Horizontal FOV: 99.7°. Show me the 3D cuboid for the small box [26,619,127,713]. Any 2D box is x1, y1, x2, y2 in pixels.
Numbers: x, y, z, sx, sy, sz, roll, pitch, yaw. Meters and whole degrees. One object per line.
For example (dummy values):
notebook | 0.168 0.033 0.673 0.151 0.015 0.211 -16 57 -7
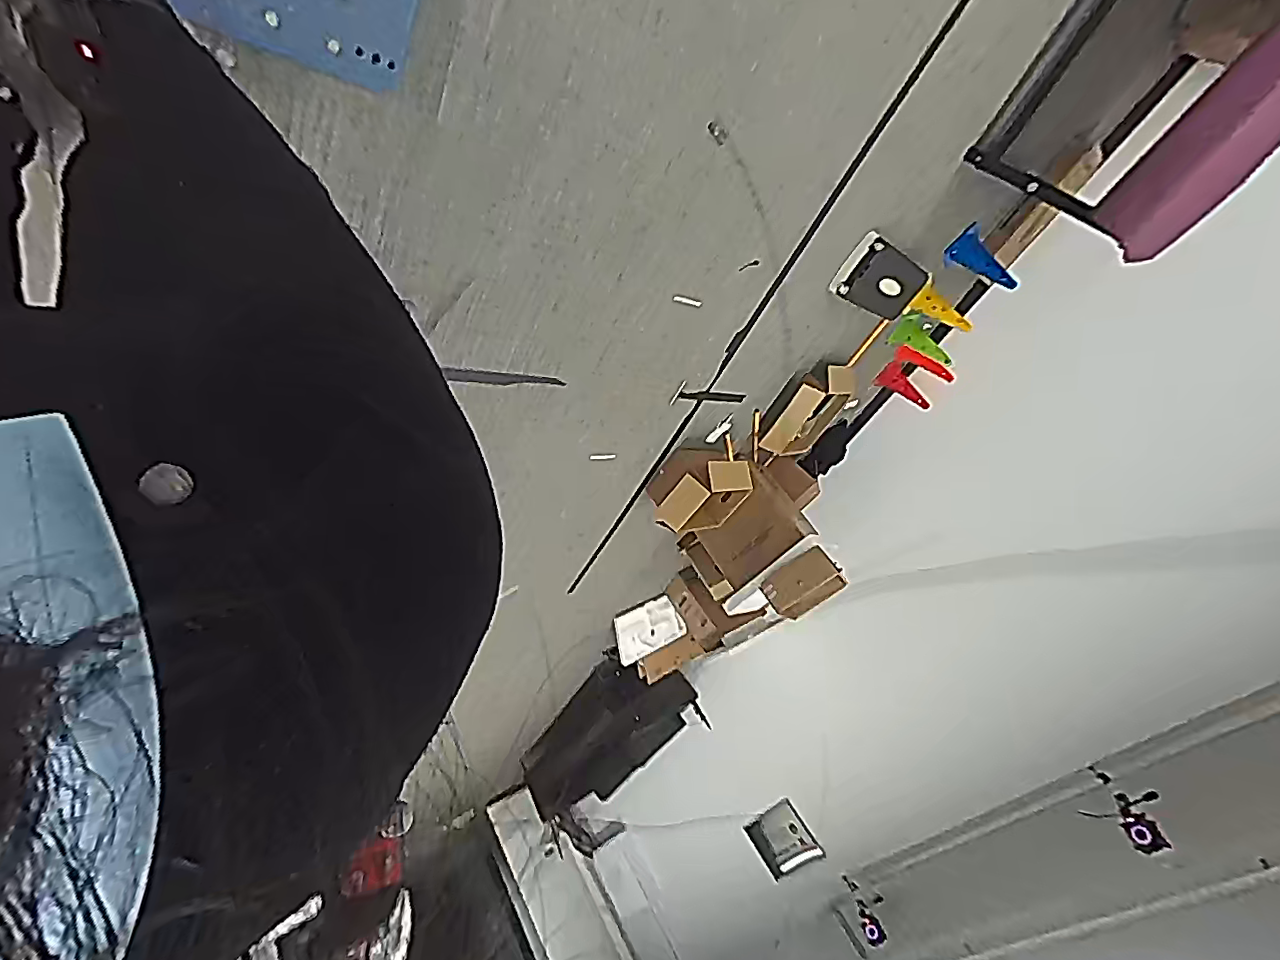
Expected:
small box | -1.620 0.531 1.559 0.168 0.176 0.179 -16 146 -37
